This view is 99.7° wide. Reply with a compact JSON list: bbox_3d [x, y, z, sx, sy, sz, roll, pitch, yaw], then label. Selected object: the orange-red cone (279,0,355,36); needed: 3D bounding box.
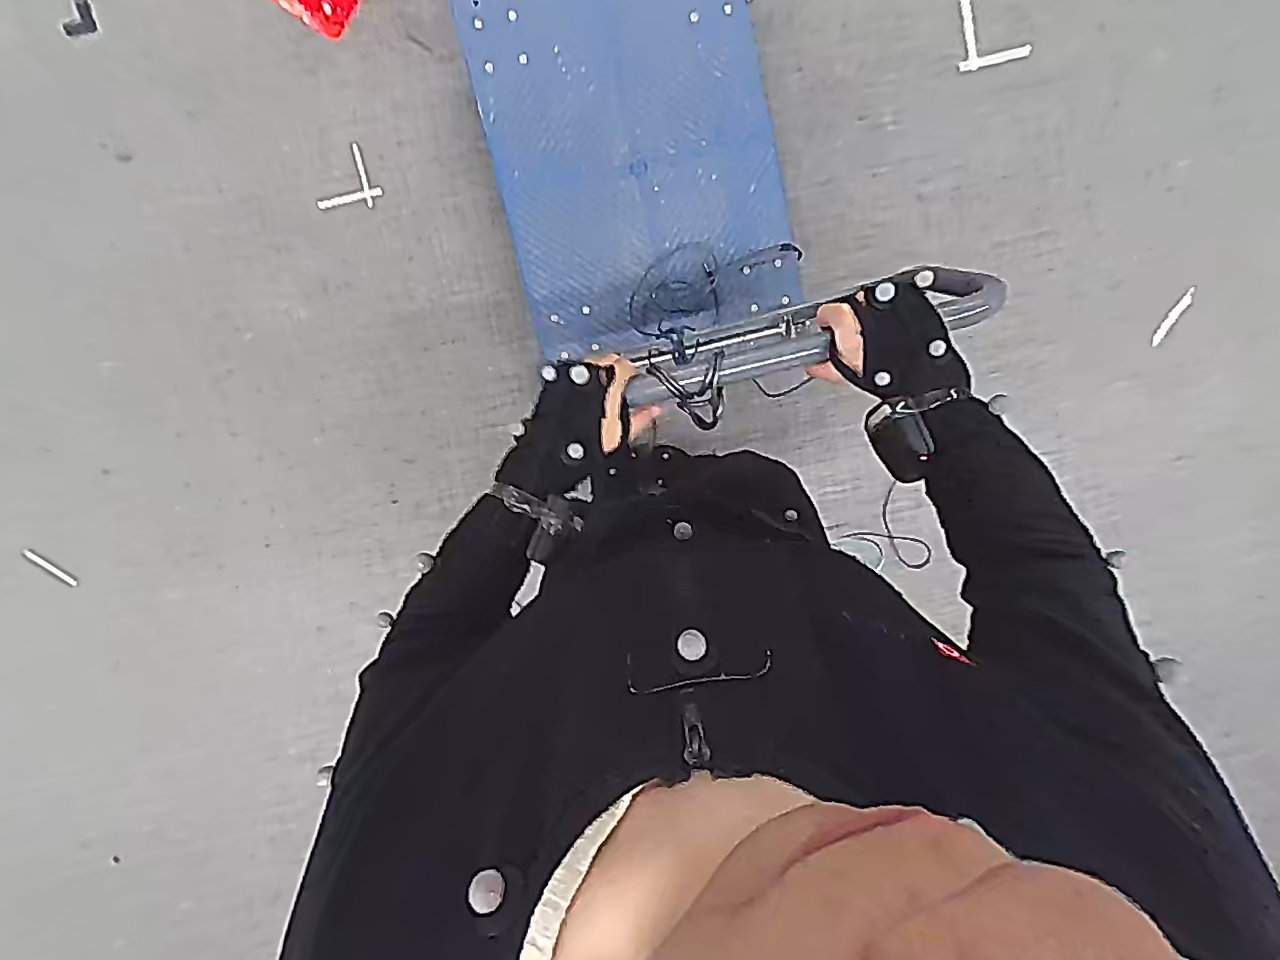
[{"bbox_3d":[-0.699,-1.086,1.010,0.198,0.360,0.199,33,94,-7],"label":"orange-red cone"}]
